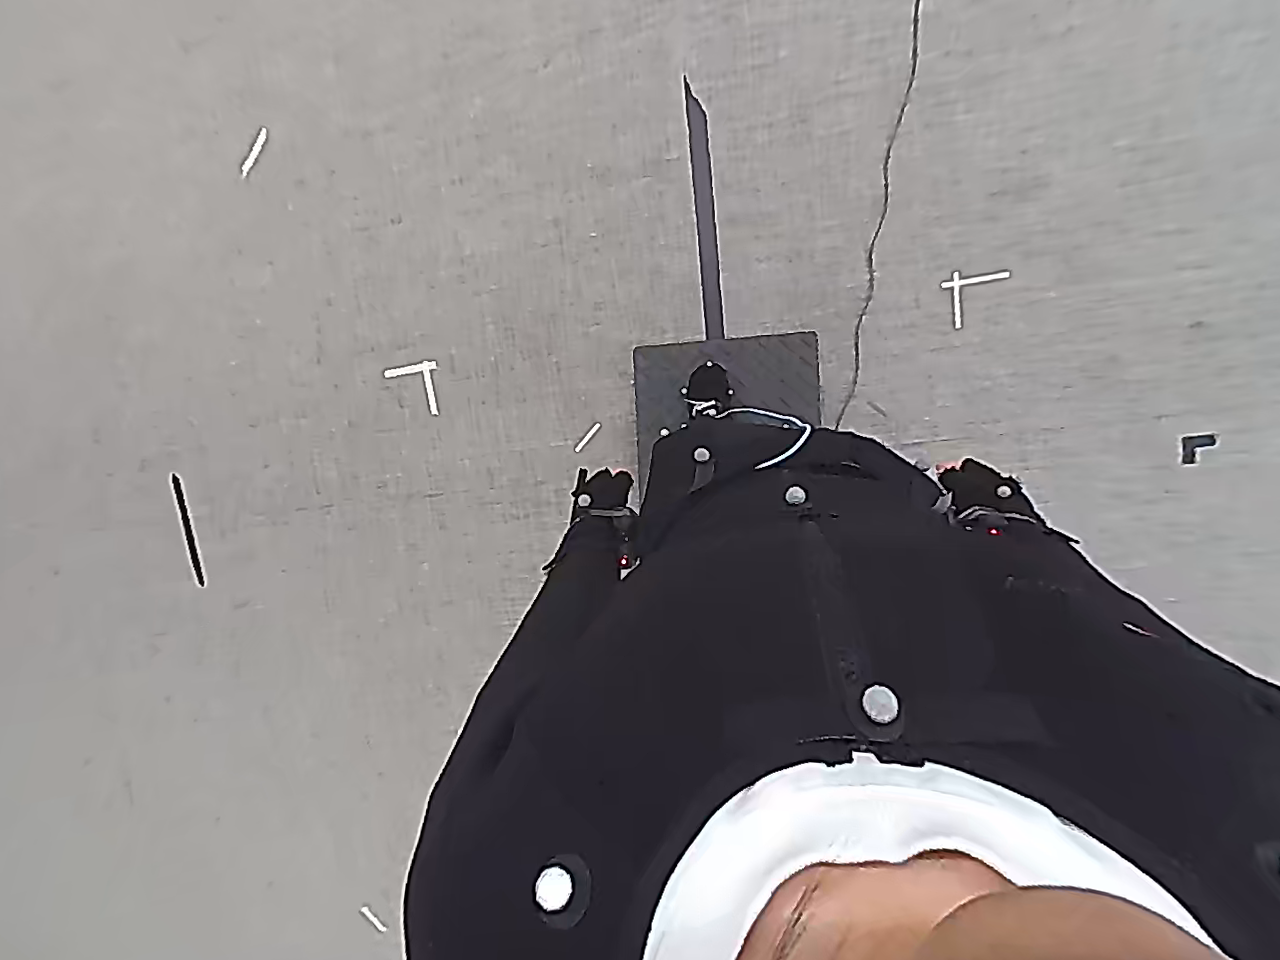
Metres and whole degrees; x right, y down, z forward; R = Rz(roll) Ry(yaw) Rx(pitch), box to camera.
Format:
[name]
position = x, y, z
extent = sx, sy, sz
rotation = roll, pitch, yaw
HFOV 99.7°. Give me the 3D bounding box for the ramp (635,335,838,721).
[ramp]
position = 0.241, 0.127, 1.440
extent = 0.509, 0.206, 0.991
rotation = -4, 97, 11
